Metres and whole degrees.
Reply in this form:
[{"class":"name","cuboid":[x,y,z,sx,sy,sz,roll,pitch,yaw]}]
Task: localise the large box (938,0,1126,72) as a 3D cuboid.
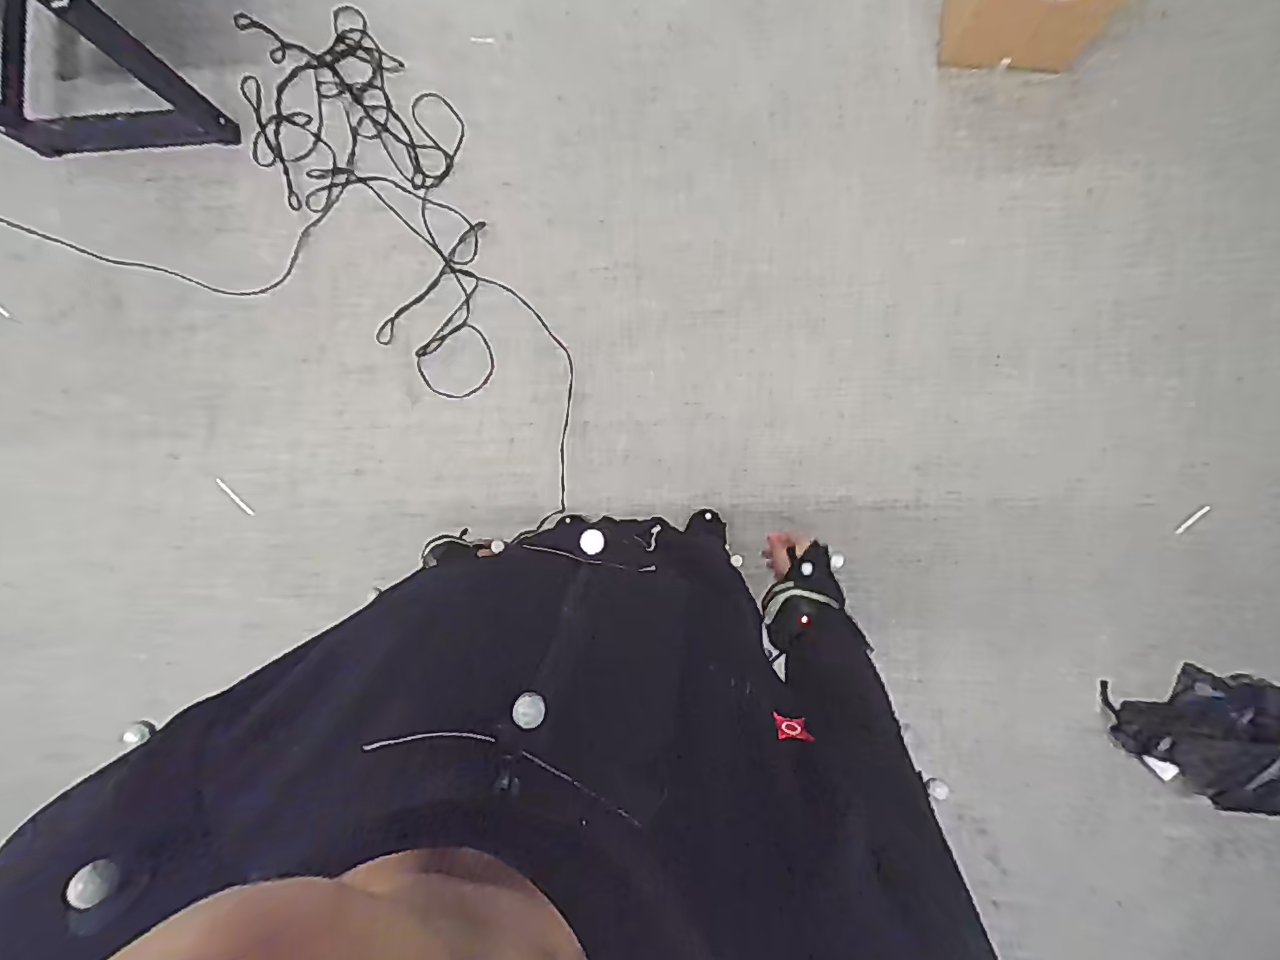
[{"class":"large box","cuboid":[0.909,-1.234,1.213,0.320,0.320,0.408,6,90,4]}]
